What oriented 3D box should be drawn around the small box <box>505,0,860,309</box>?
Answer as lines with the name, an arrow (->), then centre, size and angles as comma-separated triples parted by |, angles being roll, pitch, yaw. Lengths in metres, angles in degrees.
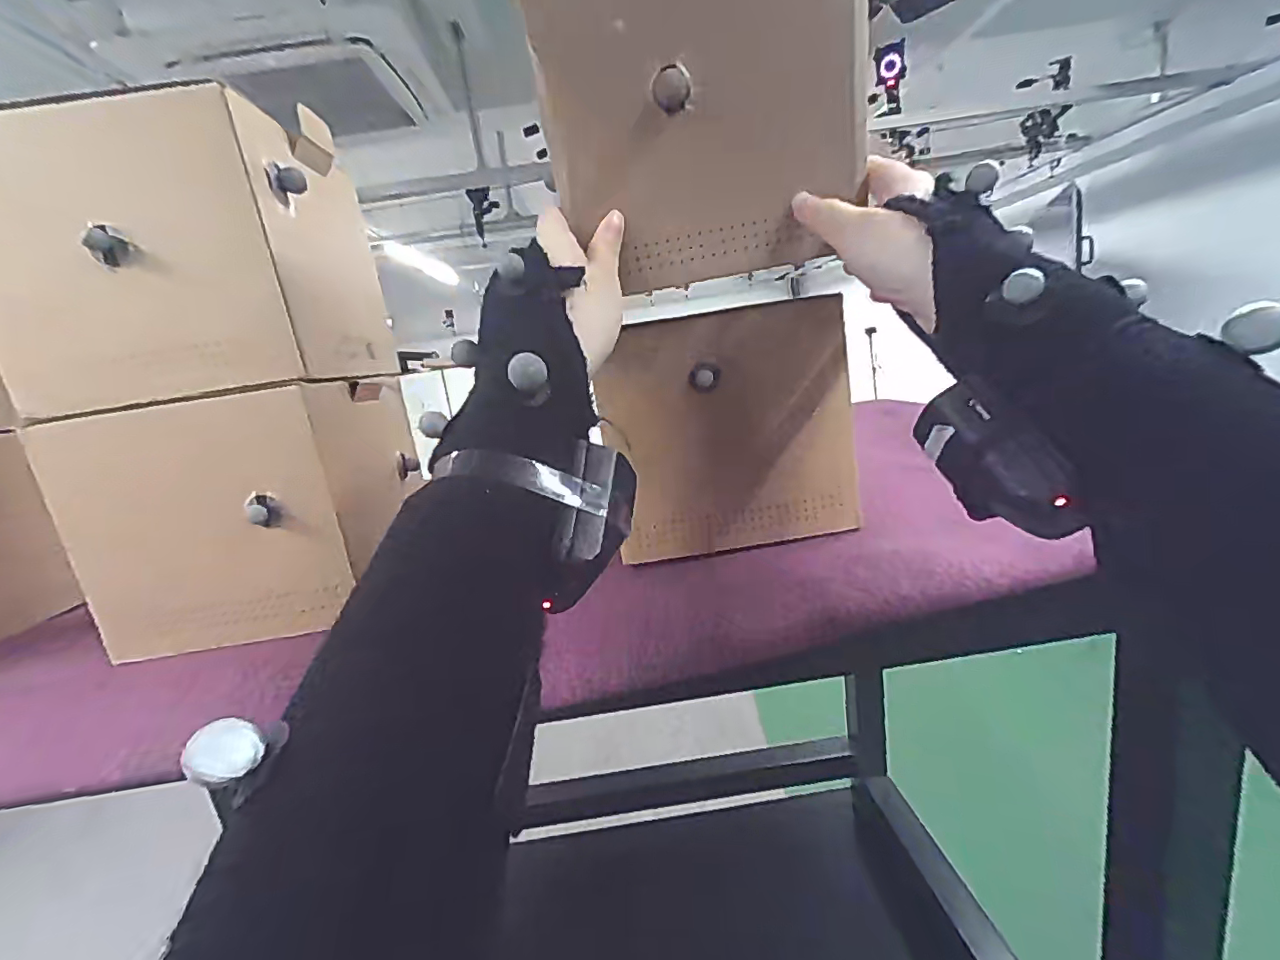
small box -> 0.034, -0.223, 0.365 | 0.179, 0.176, 0.168 | -10, 25, 5

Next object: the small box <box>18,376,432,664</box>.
small box -> -0.285, 0.018, 0.423 | 0.179, 0.176, 0.168 | -10, 13, -2

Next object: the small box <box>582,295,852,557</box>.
small box -> 0.058, -0.043, 0.451 | 0.179, 0.176, 0.168 | -9, 11, 0
